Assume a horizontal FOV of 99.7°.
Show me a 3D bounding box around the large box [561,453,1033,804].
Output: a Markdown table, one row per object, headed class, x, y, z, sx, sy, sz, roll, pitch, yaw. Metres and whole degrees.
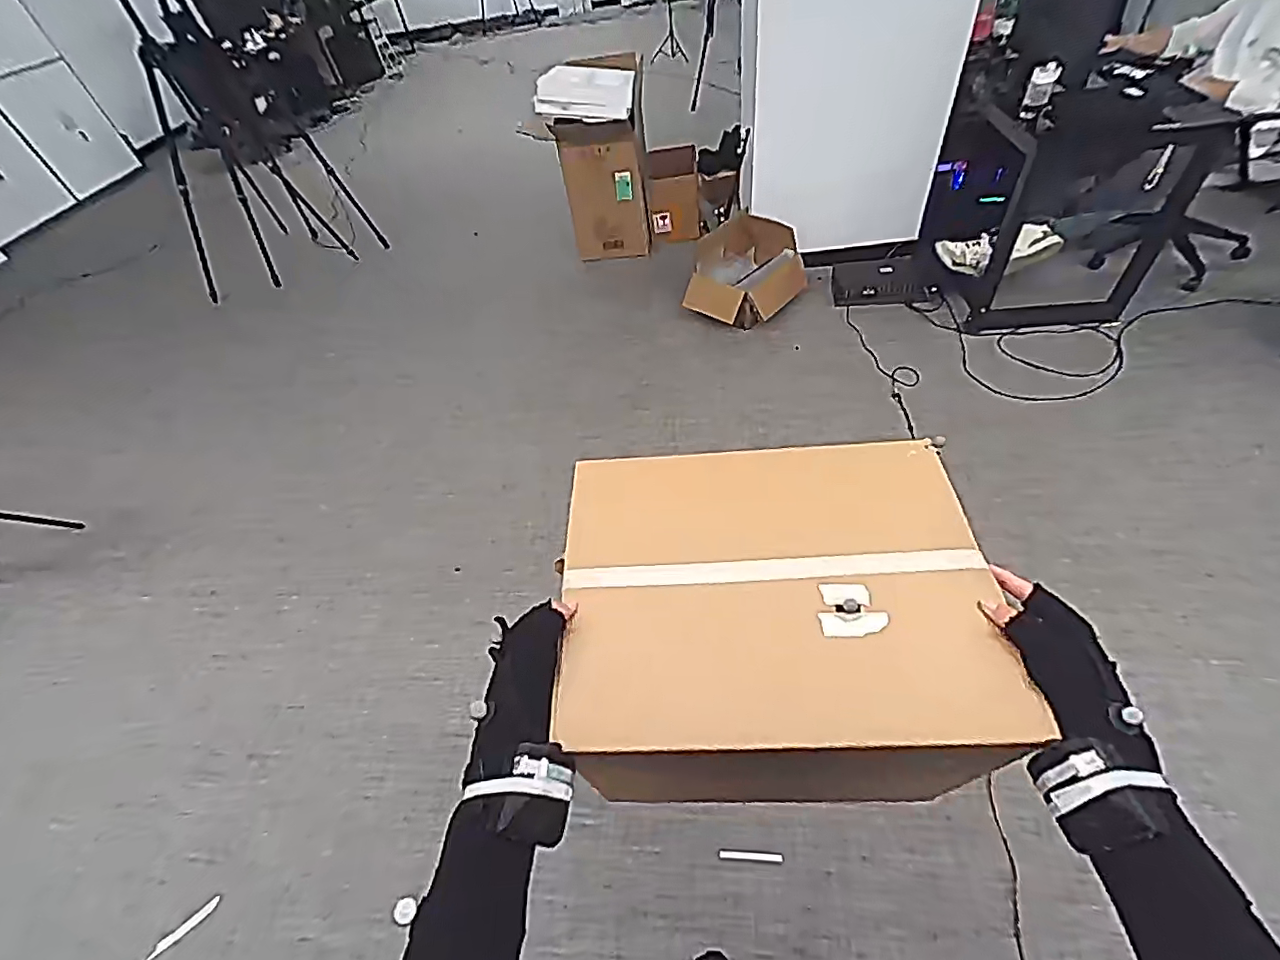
| class | x | y | z | sx | sy | sz | roll | pitch | yaw |
| --- | --- | --- | --- | --- | --- | --- | --- | --- | --- |
| large box | 0.137 | 0.193 | 0.661 | 0.408 | 0.320 | 0.320 | -3 | 53 | 4 |
